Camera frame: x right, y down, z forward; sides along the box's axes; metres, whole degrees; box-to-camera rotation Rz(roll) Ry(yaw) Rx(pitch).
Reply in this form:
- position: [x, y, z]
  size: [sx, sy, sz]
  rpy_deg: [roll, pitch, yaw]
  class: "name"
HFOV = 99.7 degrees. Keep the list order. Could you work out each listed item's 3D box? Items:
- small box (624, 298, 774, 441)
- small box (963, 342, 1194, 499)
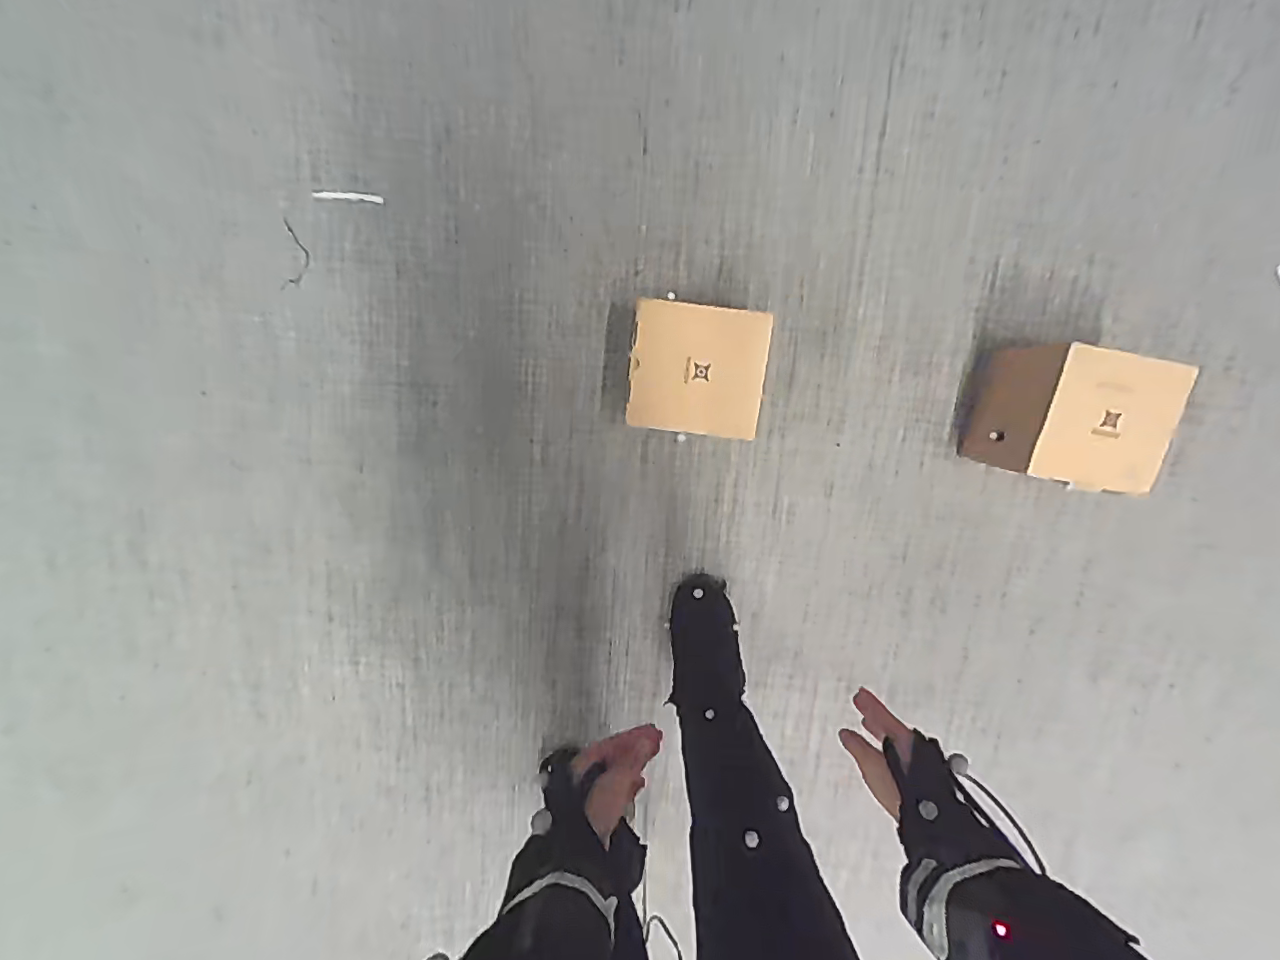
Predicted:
- position: [0.077, -0.158, 0.776]
  size: [0.179, 0.176, 0.168]
  rpy_deg: [7, 102, 2]
  class: "small box"
- position: [0.596, -0.088, 0.766]
  size: [0.168, 0.176, 0.179]
  rpy_deg: [11, 101, -1]
  class: "small box"
